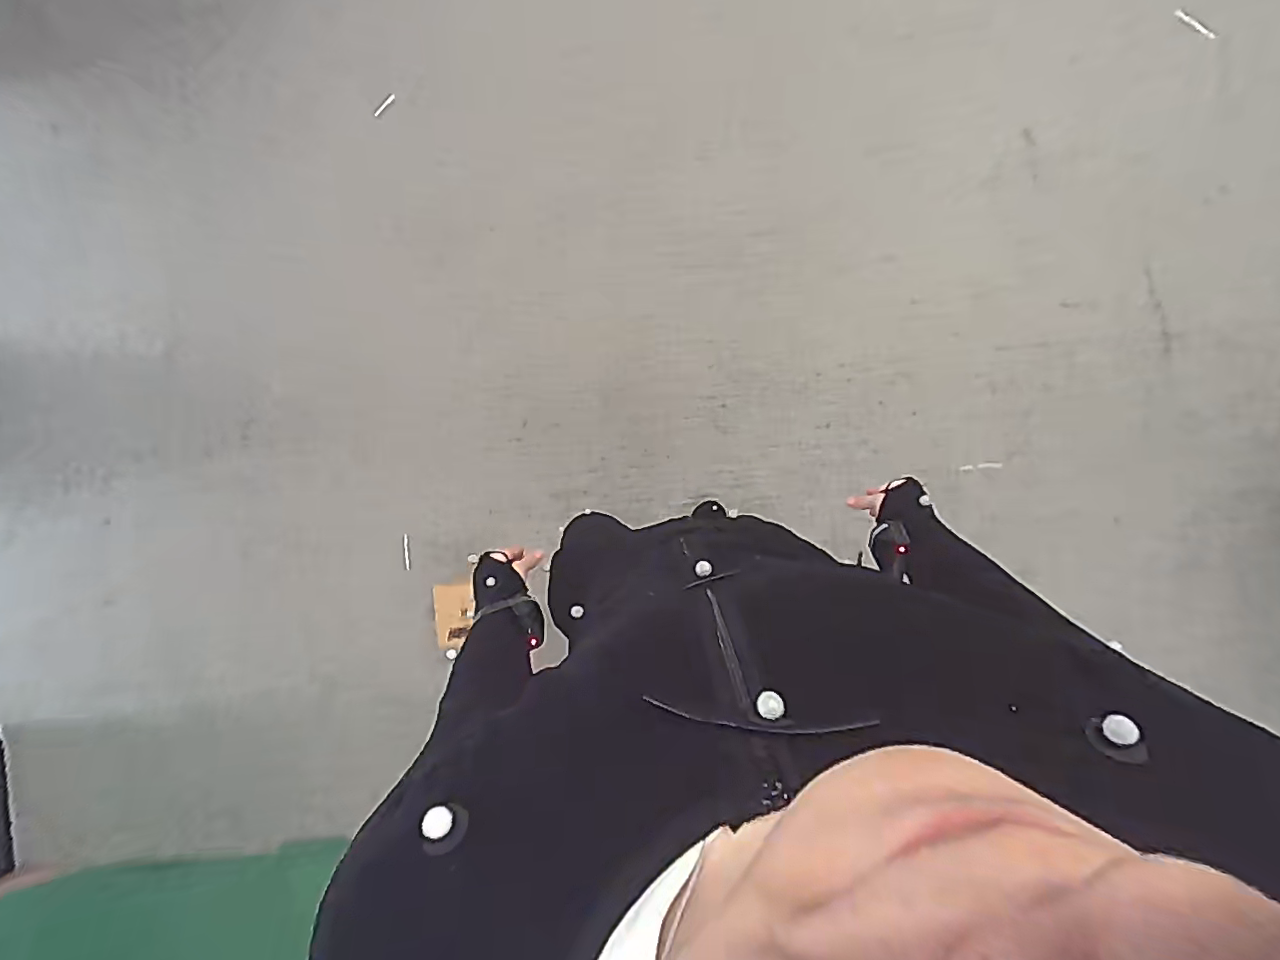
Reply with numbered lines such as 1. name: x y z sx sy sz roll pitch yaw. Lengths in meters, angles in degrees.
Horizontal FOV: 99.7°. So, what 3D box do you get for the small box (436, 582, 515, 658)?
1. small box: -0.473 0.402 1.579 0.168 0.176 0.179 -6 87 4
